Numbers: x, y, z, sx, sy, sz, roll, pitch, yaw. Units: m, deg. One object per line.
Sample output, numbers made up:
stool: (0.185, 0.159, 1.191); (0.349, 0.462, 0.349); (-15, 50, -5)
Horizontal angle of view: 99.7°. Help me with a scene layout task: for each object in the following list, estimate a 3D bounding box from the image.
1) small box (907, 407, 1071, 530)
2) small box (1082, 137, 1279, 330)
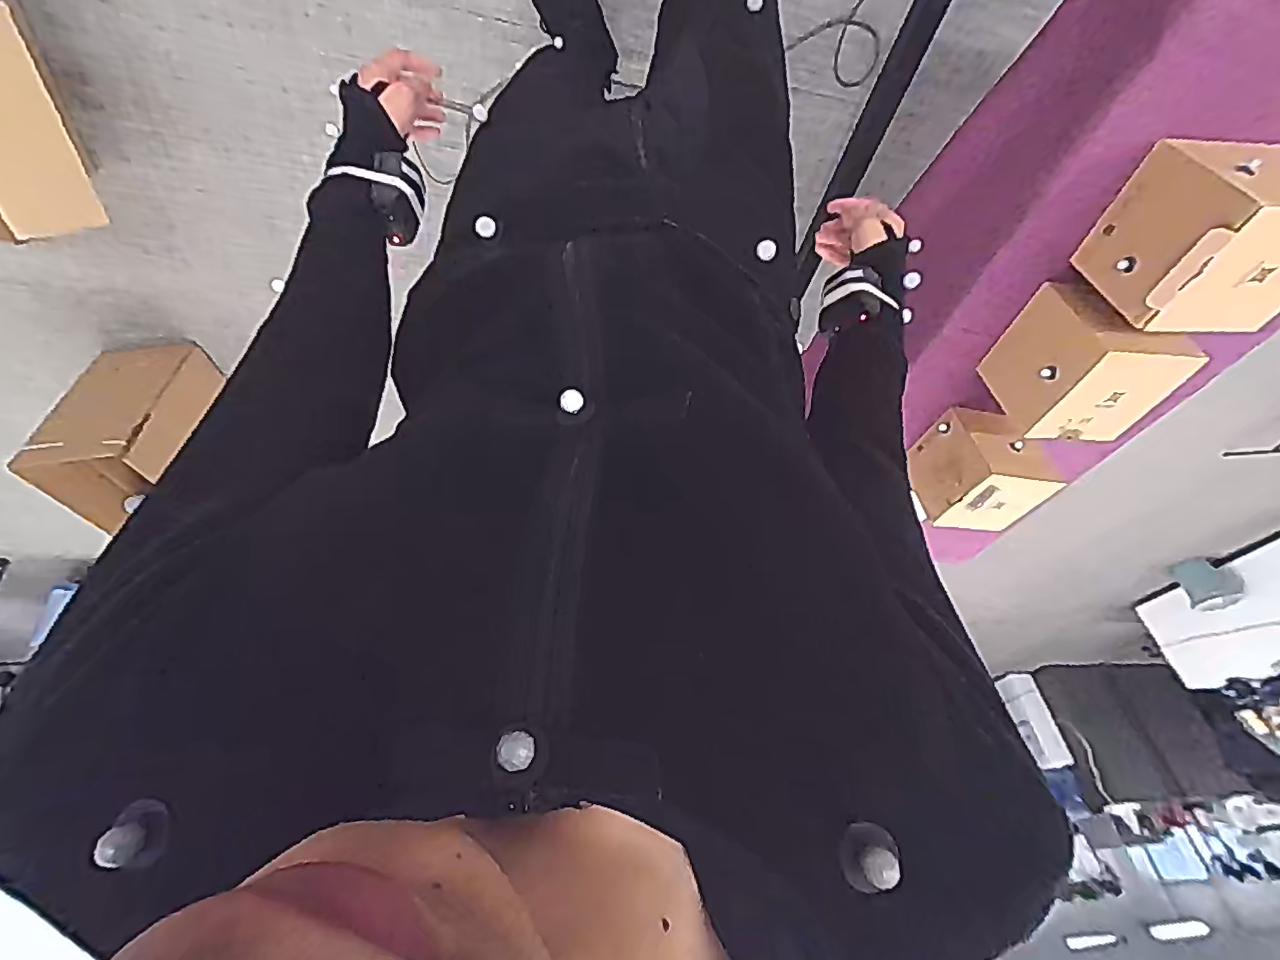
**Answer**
small box: (0.664, -0.023, 1.055); (0.179, 0.176, 0.168); (6, 142, -15)
small box: (0.729, -0.311, 0.686); (0.179, 0.176, 0.168); (-1, 143, -6)
